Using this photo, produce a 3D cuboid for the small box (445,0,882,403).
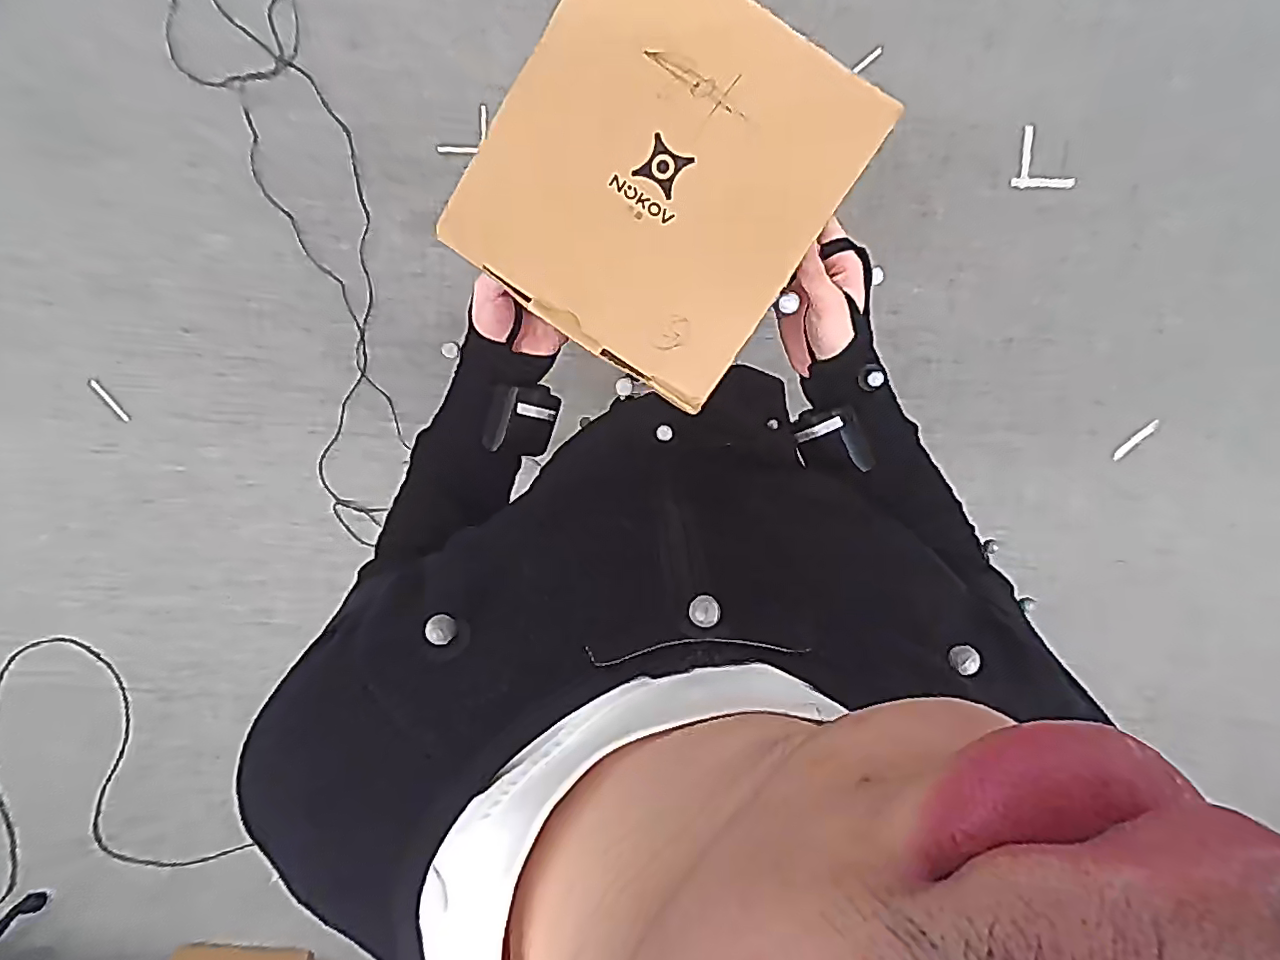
[{"bbox_3d":[0.013,-0.166,0.356,0.168,0.176,0.179,33,98,-3],"label":"small box"}]
